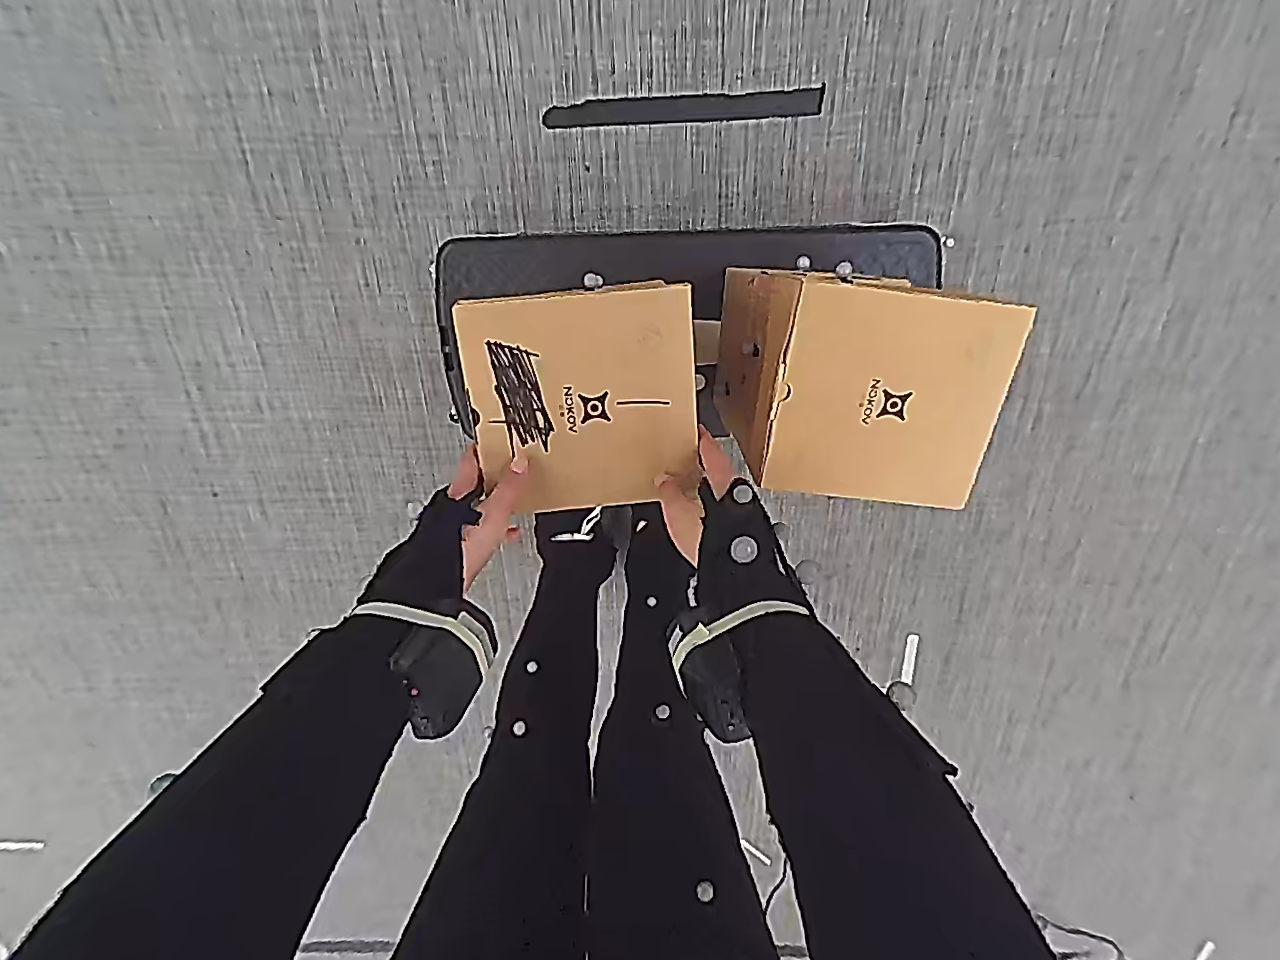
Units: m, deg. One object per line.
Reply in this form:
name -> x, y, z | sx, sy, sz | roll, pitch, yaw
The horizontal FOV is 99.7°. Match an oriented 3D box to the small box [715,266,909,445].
small box -> 0.184, -0.154, 0.642 | 0.168, 0.176, 0.179 | 3, 112, 0
